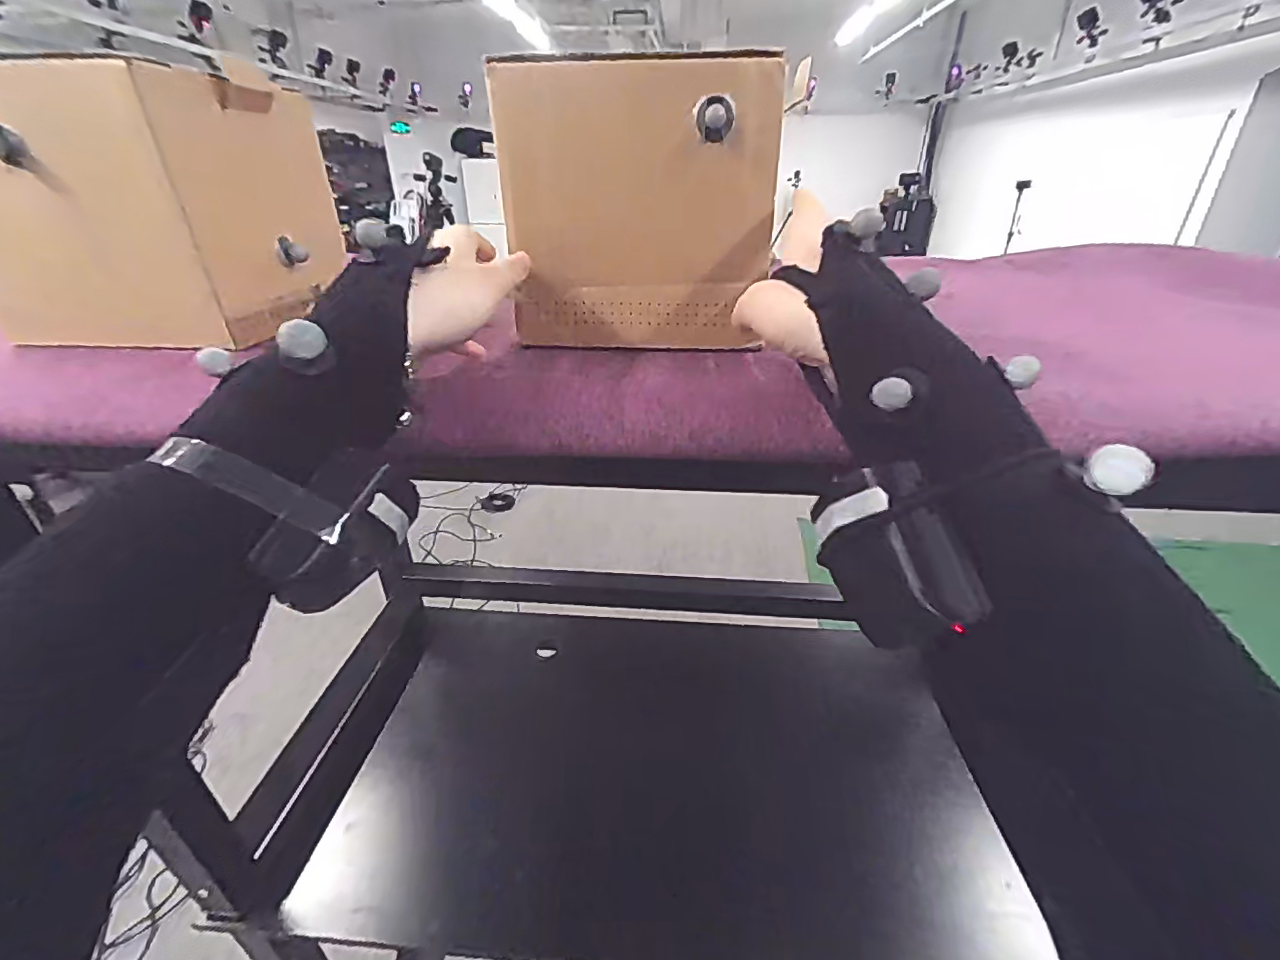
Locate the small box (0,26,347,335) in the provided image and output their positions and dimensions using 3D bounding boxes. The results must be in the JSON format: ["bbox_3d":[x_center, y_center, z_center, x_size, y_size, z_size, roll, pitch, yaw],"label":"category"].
[{"bbox_3d":[-0.362,-0.211,0.405,0.179,0.176,0.168,2,31,3],"label":"small box"}]

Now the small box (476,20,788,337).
[{"bbox_3d":[0.001,-0.206,0.399,0.179,0.176,0.168,2,28,4],"label":"small box"}]
